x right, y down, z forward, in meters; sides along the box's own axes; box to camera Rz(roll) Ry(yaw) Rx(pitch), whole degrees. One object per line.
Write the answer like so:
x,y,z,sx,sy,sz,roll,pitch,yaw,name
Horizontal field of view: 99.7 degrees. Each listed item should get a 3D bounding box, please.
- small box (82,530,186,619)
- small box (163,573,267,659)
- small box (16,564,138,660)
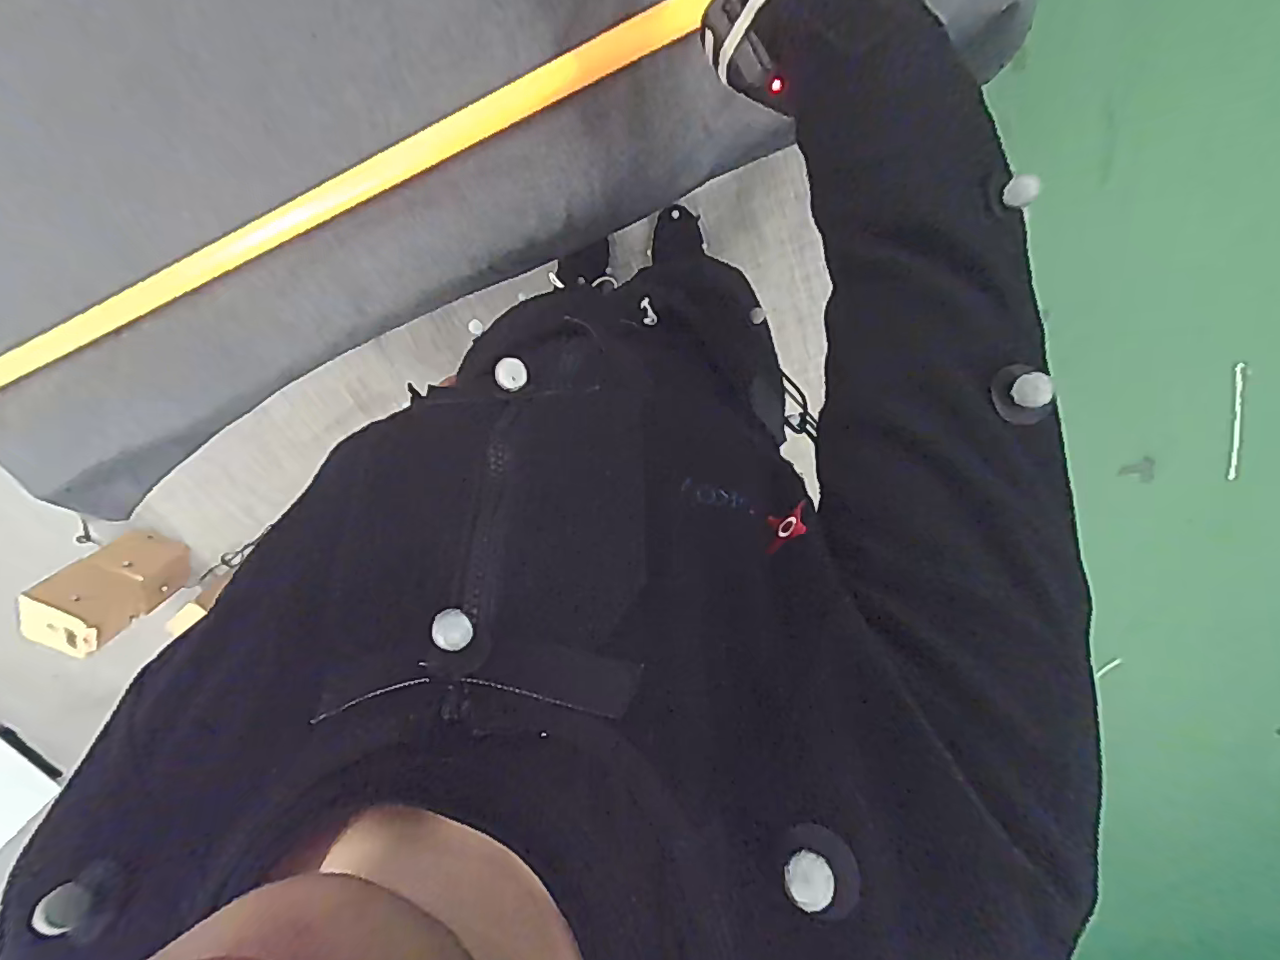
-1.546,0.288,1.663,0.168,0.176,0.179,22,118,-6,small box
-1.345,0.430,1.726,0.179,0.176,0.168,-34,110,21,small box
-1.571,0.365,1.519,0.179,0.176,0.168,27,116,-8,small box
